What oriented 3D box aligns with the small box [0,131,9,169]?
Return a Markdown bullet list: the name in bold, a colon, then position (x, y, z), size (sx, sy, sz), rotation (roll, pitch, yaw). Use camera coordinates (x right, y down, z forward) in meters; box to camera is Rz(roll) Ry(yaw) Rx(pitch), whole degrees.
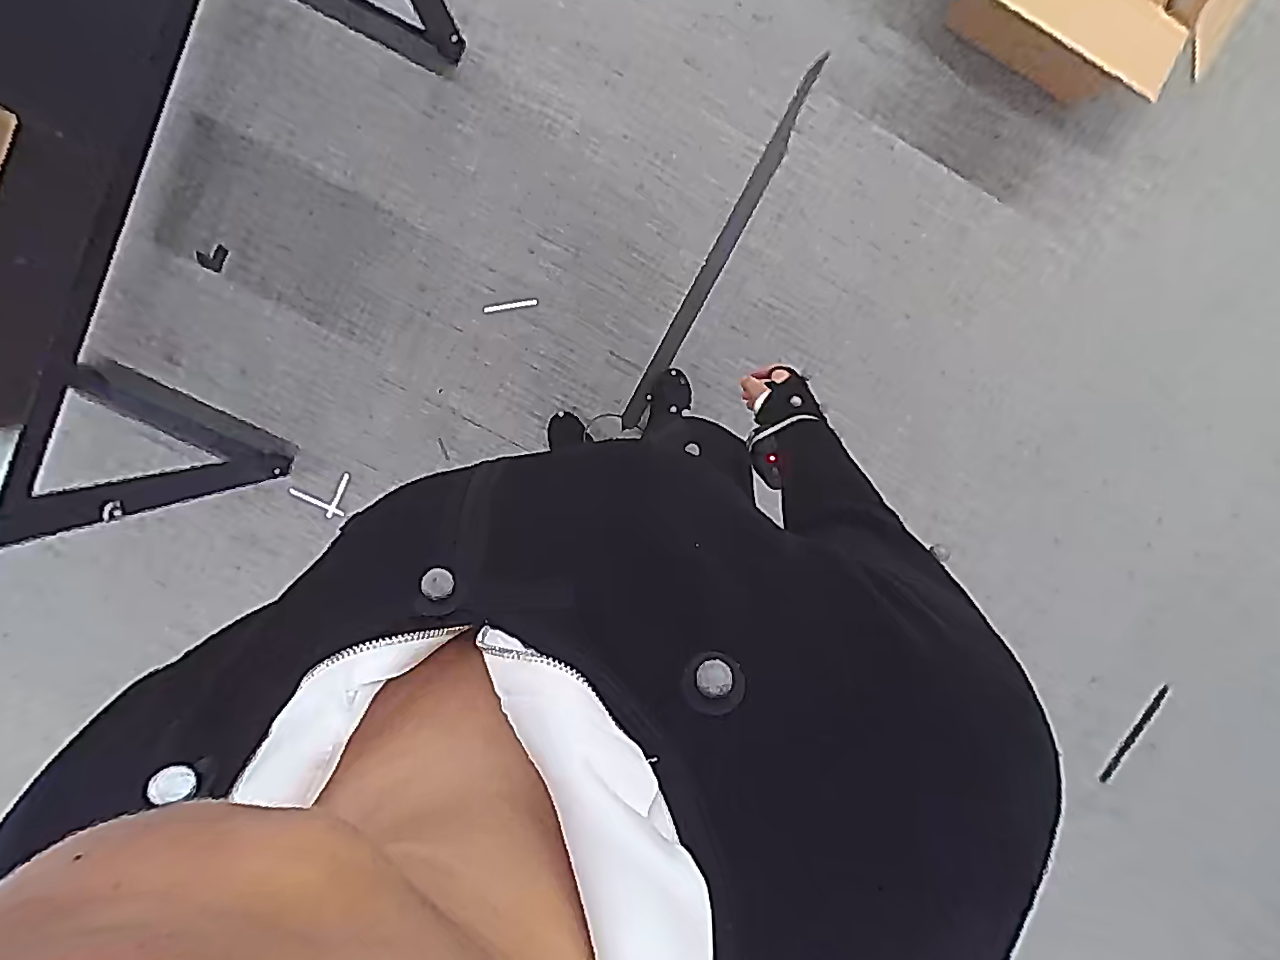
- **small box**: position (-0.870, -0.385, 0.585), size (0.168, 0.176, 0.179), rotation (28, 98, -5)
